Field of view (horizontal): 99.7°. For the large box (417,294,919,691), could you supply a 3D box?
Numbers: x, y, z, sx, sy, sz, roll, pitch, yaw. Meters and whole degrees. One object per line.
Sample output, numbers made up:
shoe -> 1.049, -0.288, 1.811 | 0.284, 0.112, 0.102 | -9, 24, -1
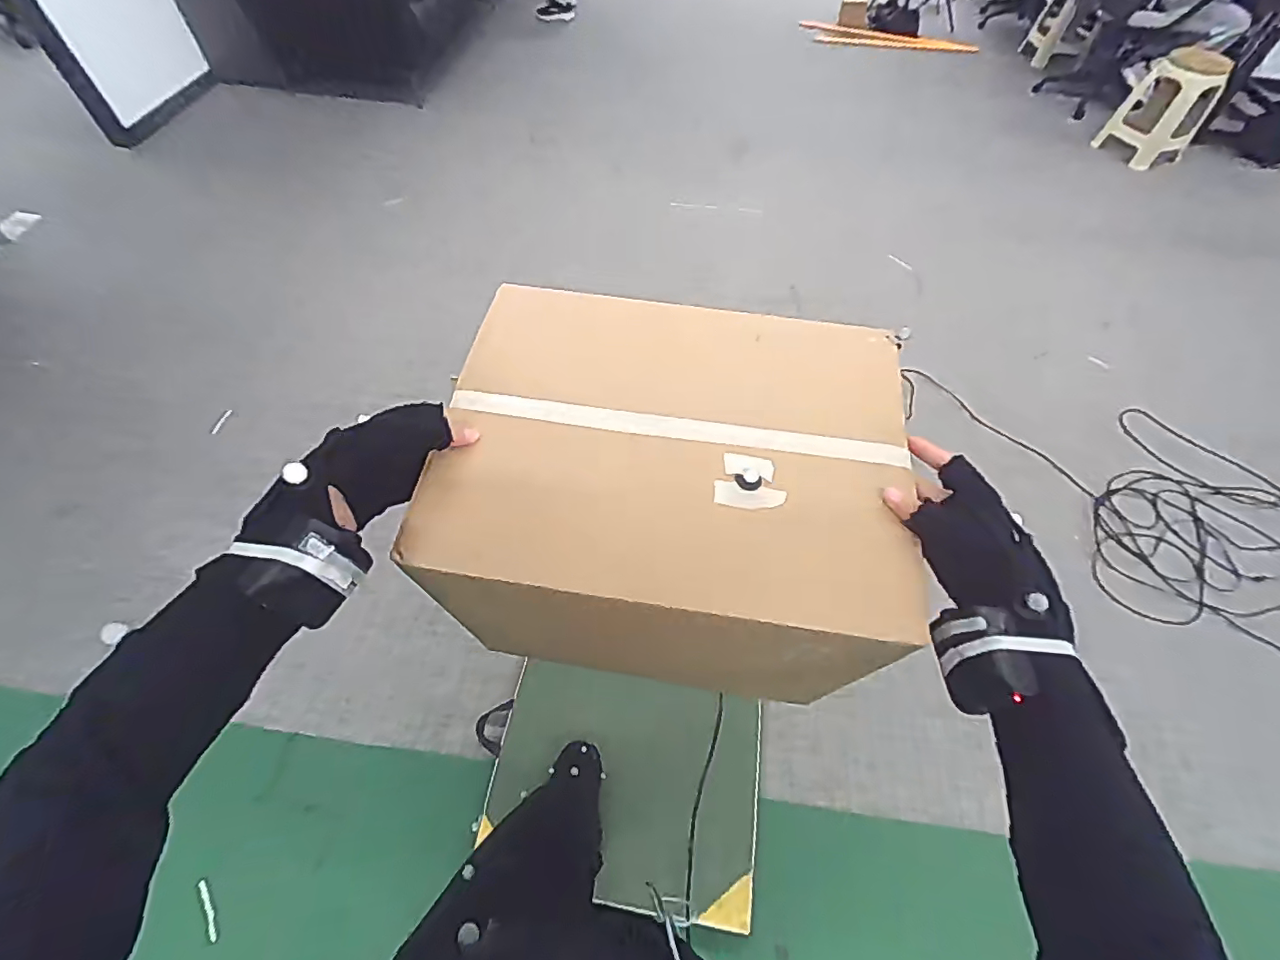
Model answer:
large box -> 0.032, 0.031, 0.620 | 0.408, 0.320, 0.320 | 8, 61, 3
